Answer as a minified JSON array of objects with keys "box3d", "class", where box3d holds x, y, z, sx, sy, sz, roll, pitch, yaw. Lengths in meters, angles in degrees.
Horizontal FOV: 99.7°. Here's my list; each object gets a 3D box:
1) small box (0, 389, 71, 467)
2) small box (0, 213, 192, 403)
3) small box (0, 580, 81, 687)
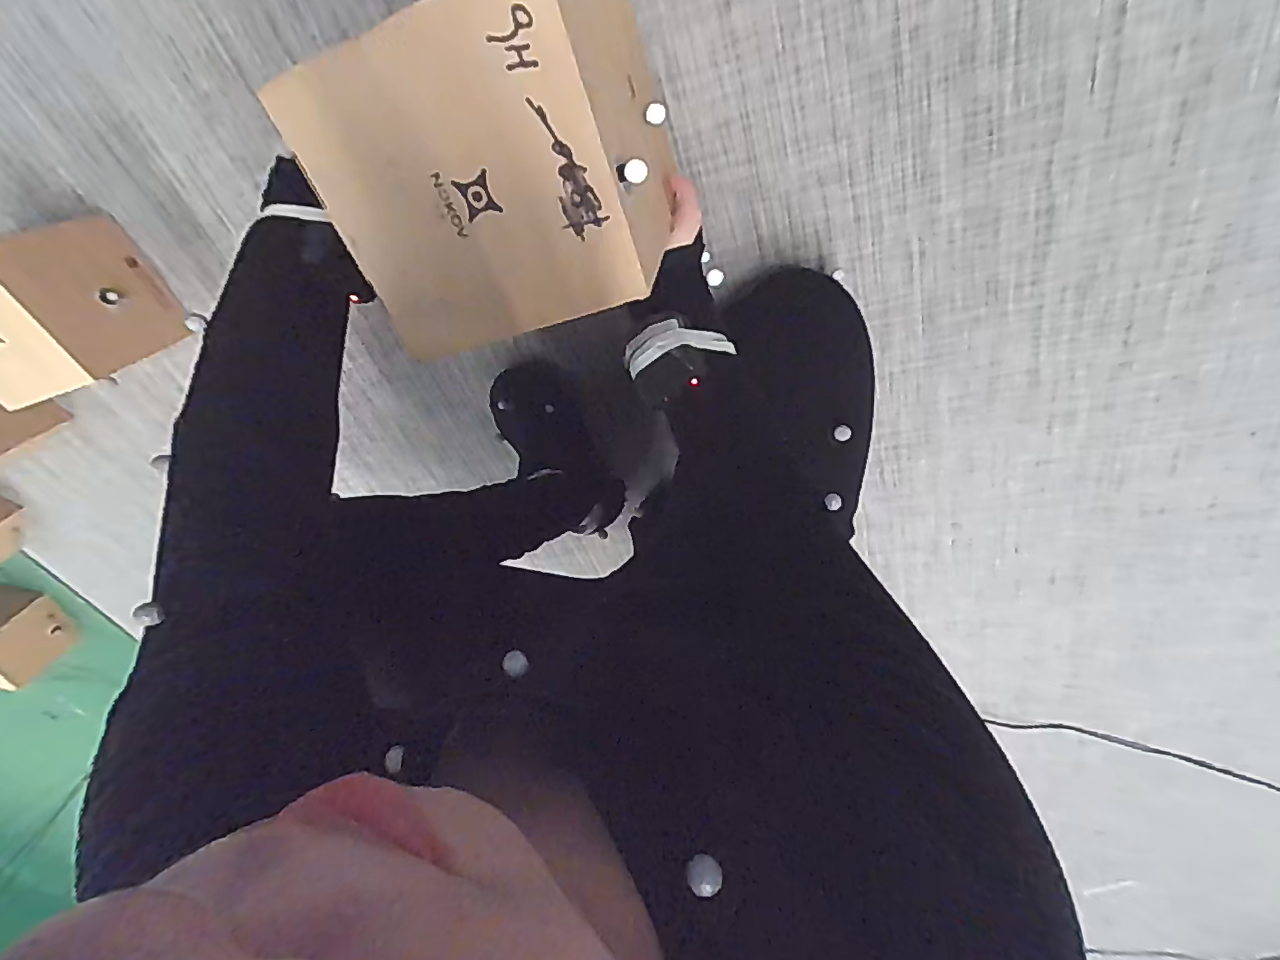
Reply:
[{"box3d":[-1.082,-0.098,0.855,0.179,0.176,0.168,-21,120,23],"class":"small box"},{"box3d":[-0.740,-0.224,0.696,0.179,0.176,0.168,-10,124,17],"class":"small box"},{"box3d":[-1.522,0.358,1.287,0.179,0.176,0.168,10,128,3],"class":"small box"}]
